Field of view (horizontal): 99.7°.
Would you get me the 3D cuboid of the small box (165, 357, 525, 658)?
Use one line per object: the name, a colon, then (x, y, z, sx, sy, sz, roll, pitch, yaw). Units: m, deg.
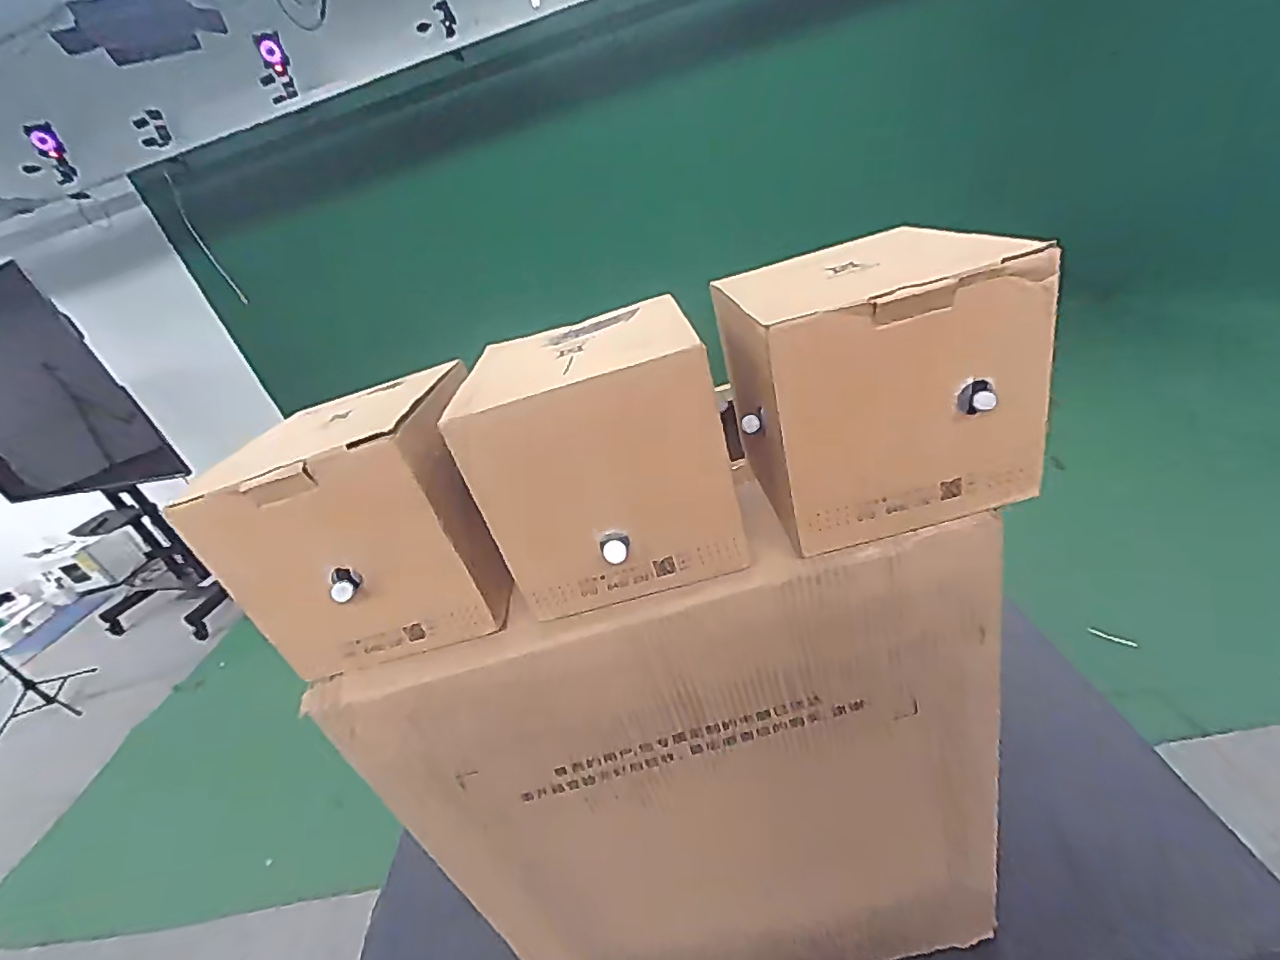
small box: (-0.209, 0.023, 0.448, 0.168, 0.176, 0.179, -16, 28, 5)

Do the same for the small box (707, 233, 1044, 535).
small box: (0.160, -0.073, 0.413, 0.168, 0.176, 0.179, -14, 27, 2)
